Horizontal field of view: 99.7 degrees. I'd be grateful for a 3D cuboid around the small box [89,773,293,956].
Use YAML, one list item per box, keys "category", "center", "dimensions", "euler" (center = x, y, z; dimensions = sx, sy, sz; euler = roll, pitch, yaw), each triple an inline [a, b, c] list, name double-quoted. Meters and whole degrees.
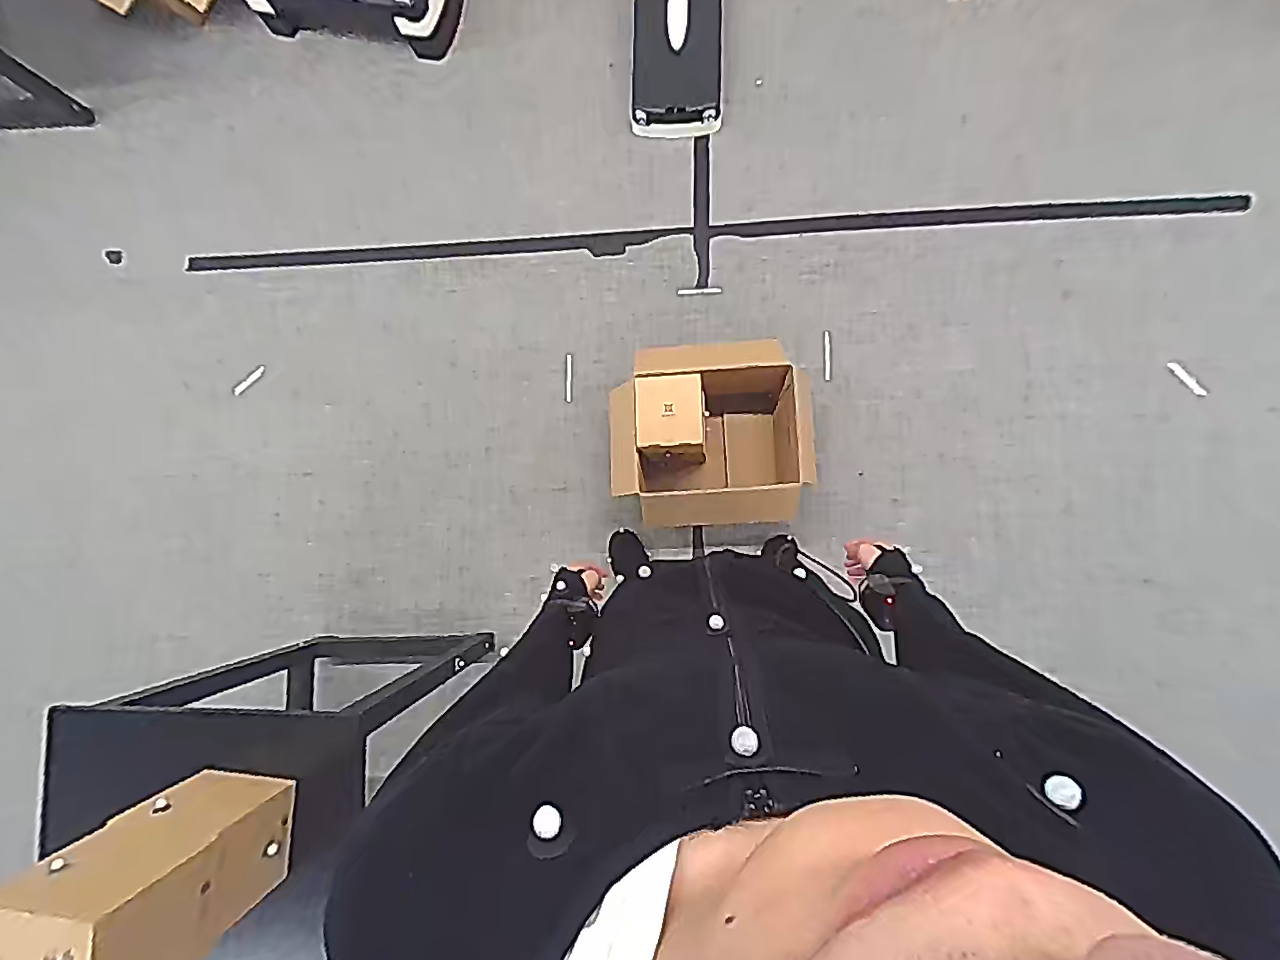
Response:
- category: "small box"
  center: [-0.699, 0.593, 0.859]
  dimensions: [0.179, 0.176, 0.168]
  euler: [4, 87, 5]
